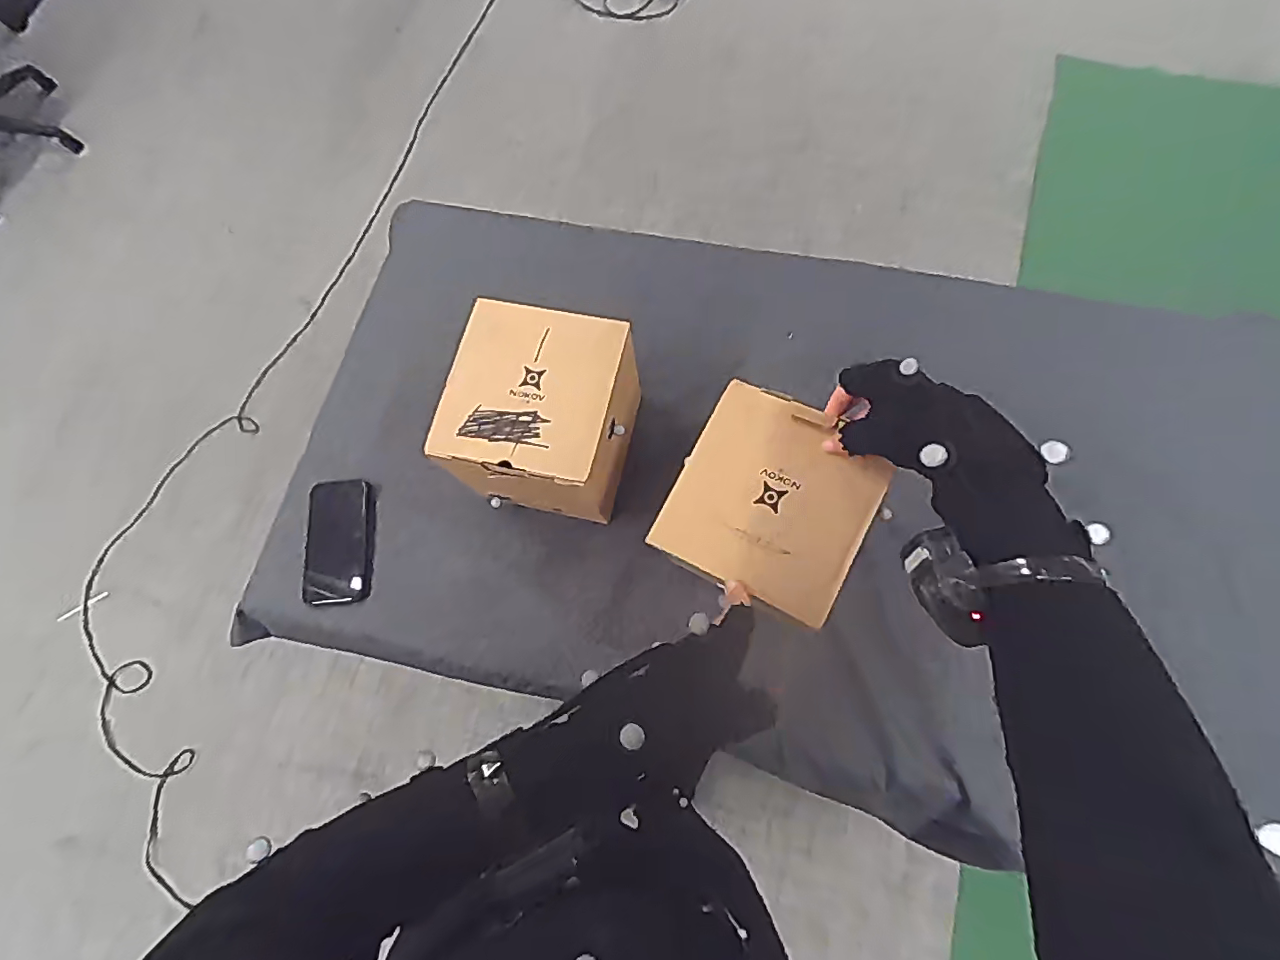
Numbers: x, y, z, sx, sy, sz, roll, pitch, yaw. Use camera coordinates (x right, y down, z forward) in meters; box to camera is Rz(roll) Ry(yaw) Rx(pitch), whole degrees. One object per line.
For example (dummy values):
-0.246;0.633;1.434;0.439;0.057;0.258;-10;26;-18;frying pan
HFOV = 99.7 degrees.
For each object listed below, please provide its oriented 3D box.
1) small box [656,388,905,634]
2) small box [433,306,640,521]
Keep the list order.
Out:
0.139;0.040;0.551;0.168;0.176;0.179;24;82;21;small box
-0.099;-0.063;0.612;0.168;0.176;0.179;12;73;7;small box
